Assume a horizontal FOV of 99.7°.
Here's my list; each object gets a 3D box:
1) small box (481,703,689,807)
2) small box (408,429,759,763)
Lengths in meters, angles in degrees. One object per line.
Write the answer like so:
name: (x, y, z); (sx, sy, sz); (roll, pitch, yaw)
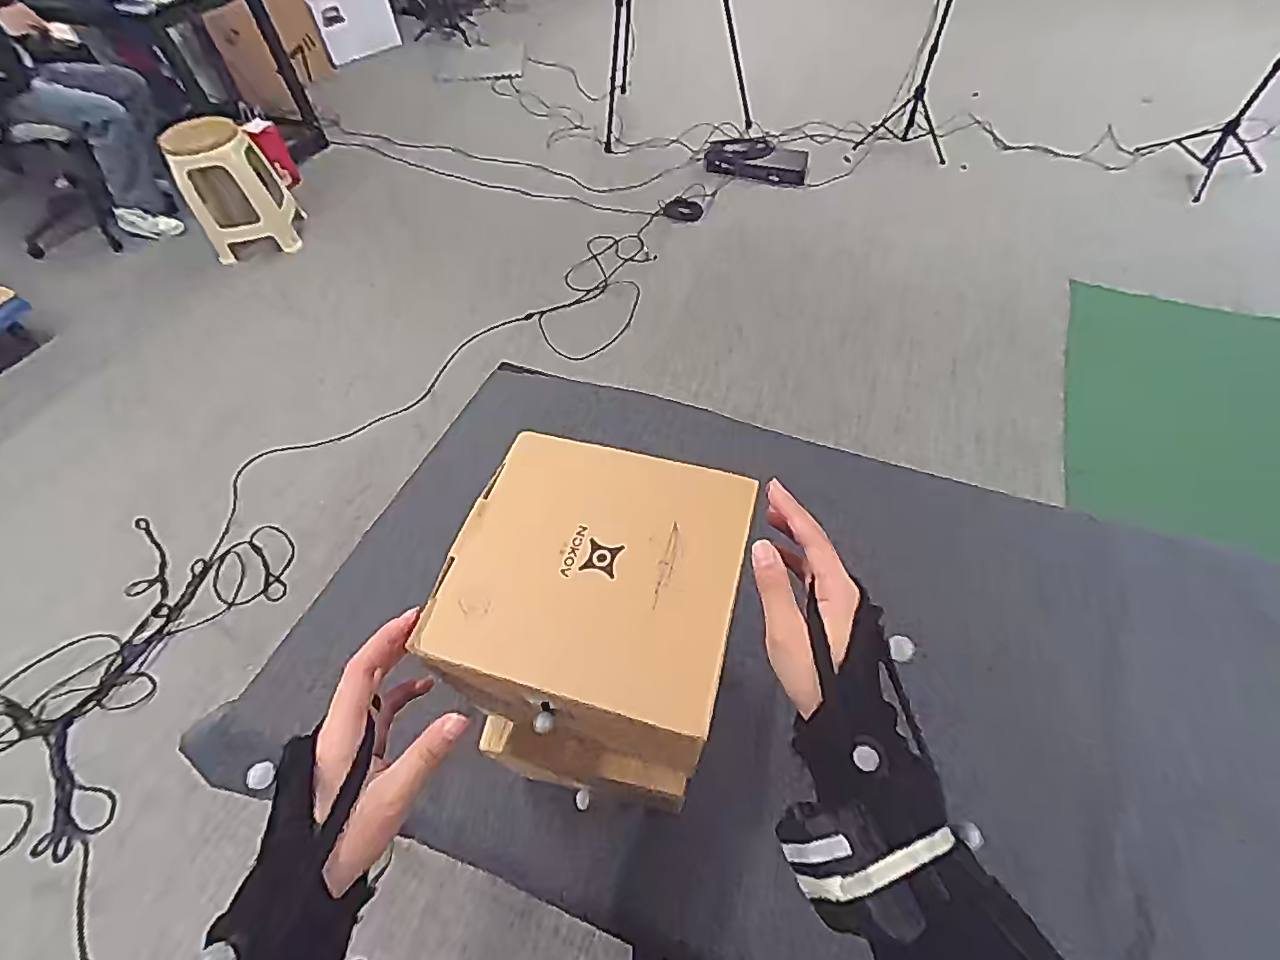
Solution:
small box: (-0.027, 0.194, 0.521); (0.168, 0.176, 0.179); (9, 56, 9)
small box: (-0.024, 0.090, 0.395); (0.179, 0.176, 0.168); (13, 58, 10)
